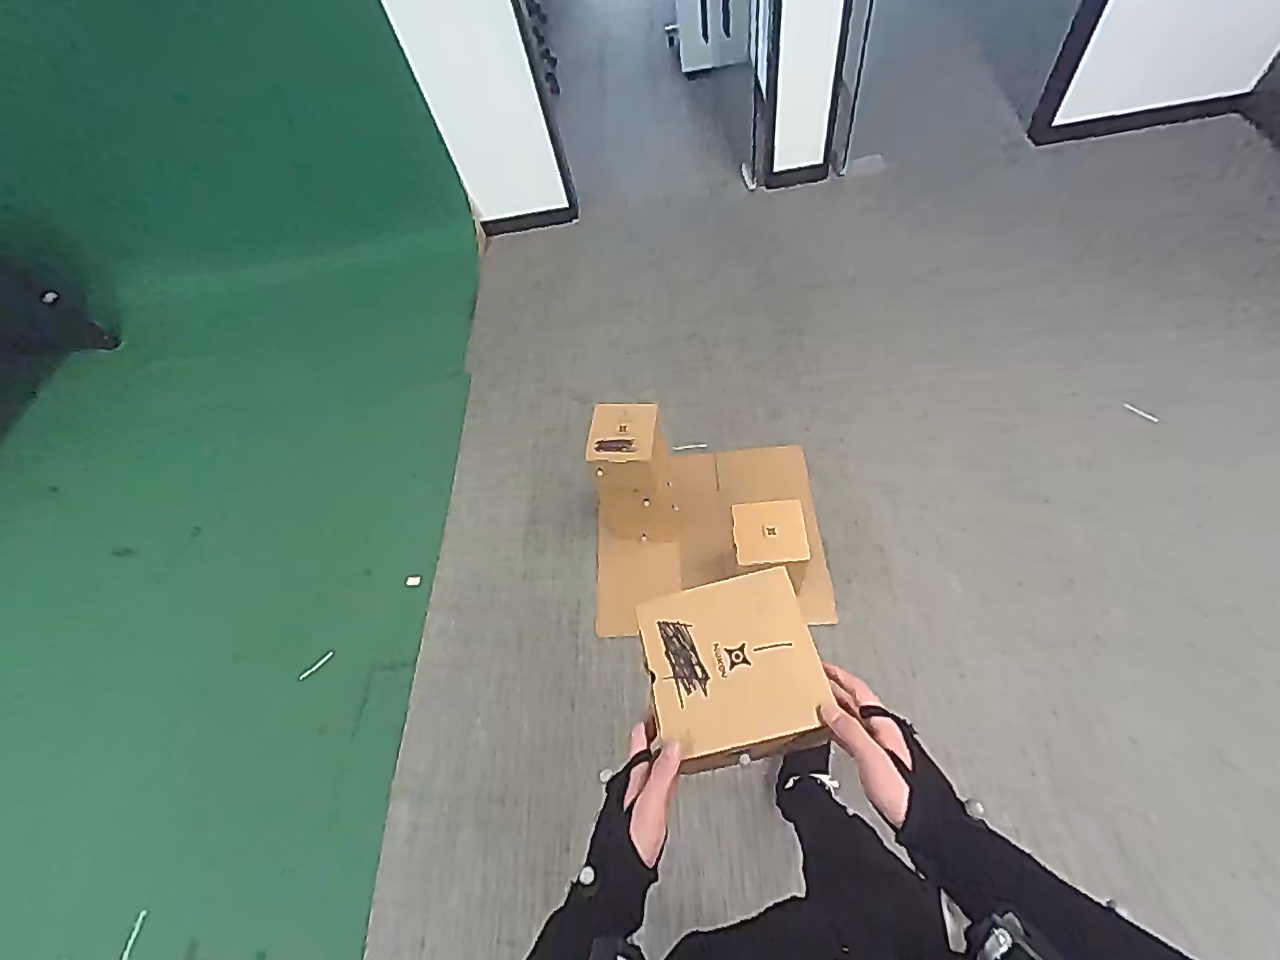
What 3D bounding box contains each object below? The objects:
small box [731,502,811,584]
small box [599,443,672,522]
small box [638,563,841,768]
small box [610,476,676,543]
[{"bbox_3d":[0.332,0.173,1.400,0.179,0.176,0.168,-6,59,8],"label":"small box"},{"bbox_3d":[-0.004,0.011,1.550,0.179,0.176,0.168,1,59,11],"label":"small box"},{"bbox_3d":[0.109,0.220,0.624,0.179,0.176,0.168,-14,56,2],"label":"small box"},{"bbox_3d":[0.017,0.090,1.695,0.179,0.176,0.168,2,60,11],"label":"small box"}]
